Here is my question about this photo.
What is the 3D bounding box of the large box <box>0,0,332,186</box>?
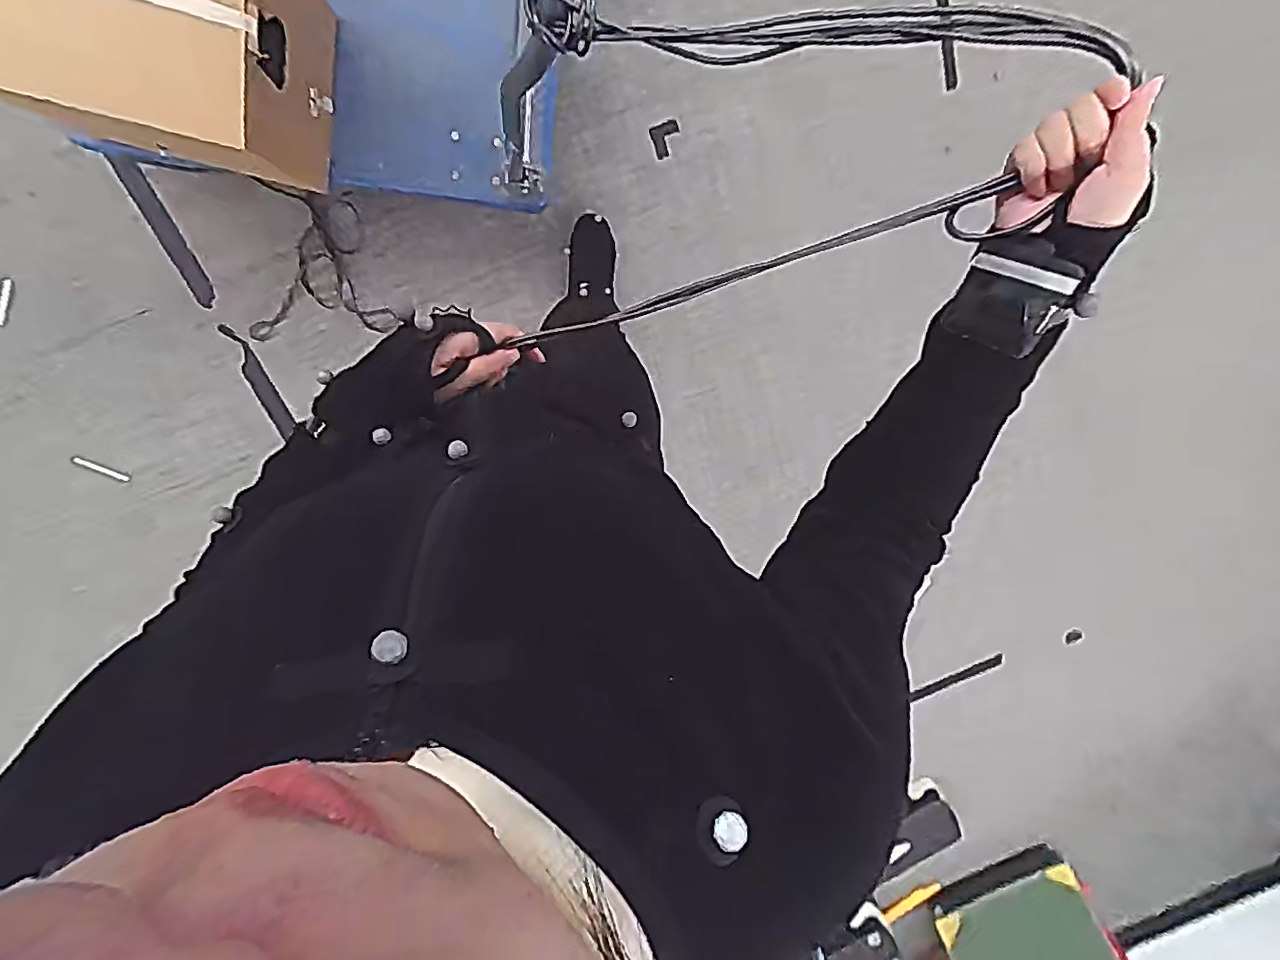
[{"bbox_3d":[-0.743,-0.686,0.829,0.408,0.320,0.320,9,106,-11],"label":"large box"}]
